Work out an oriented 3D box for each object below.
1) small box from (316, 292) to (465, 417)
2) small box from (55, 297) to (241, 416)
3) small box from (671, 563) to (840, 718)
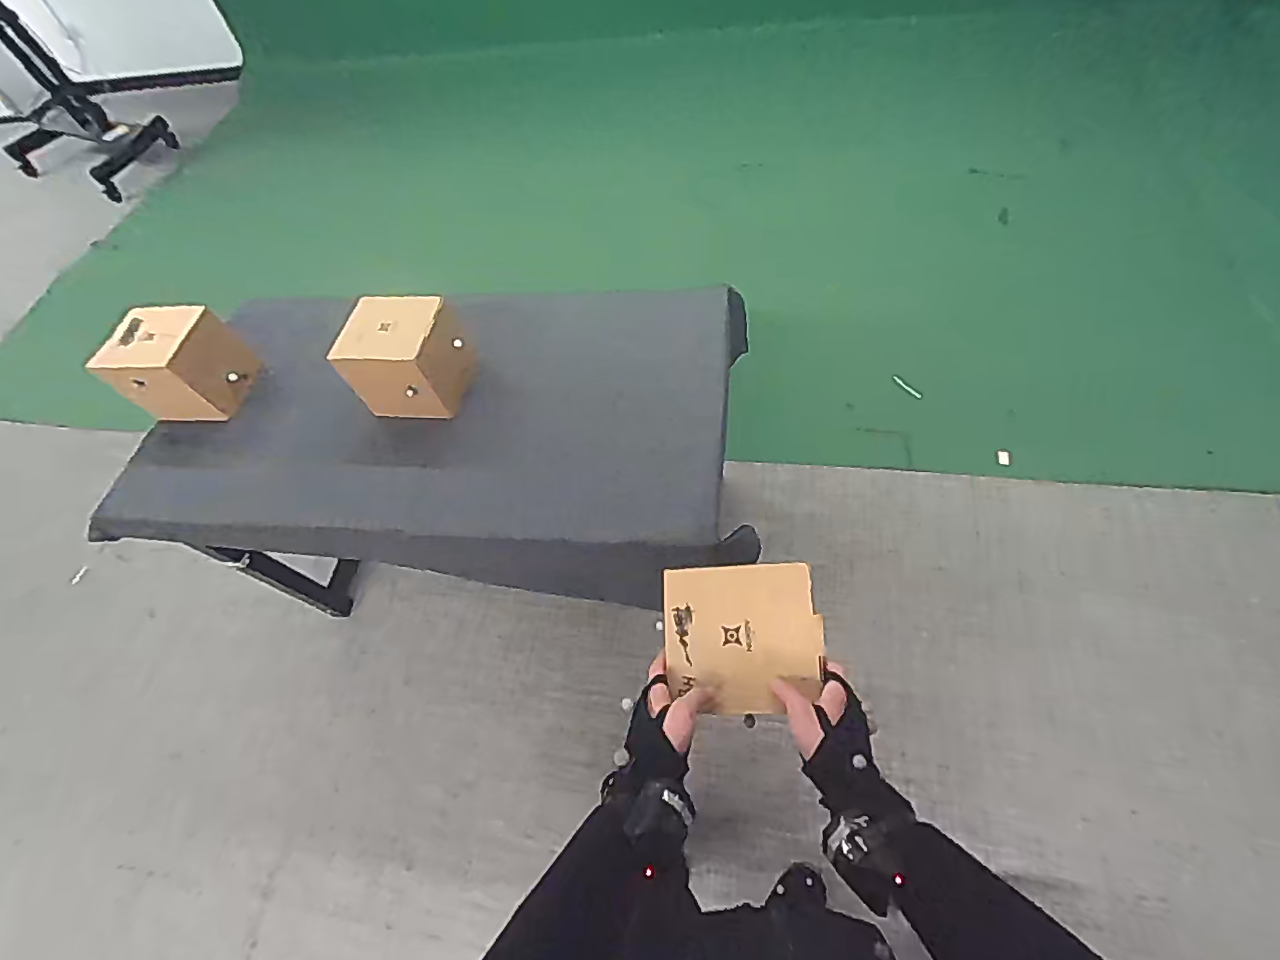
[{"bbox_3d":[-0.456,-0.232,1.024,0.179,0.176,0.168,2,57,8],"label":"small box"},{"bbox_3d":[-0.957,-0.241,1.072,0.179,0.176,0.168,2,58,5],"label":"small box"},{"bbox_3d":[0.133,0.205,0.673,0.179,0.176,0.168,-4,66,8],"label":"small box"}]
